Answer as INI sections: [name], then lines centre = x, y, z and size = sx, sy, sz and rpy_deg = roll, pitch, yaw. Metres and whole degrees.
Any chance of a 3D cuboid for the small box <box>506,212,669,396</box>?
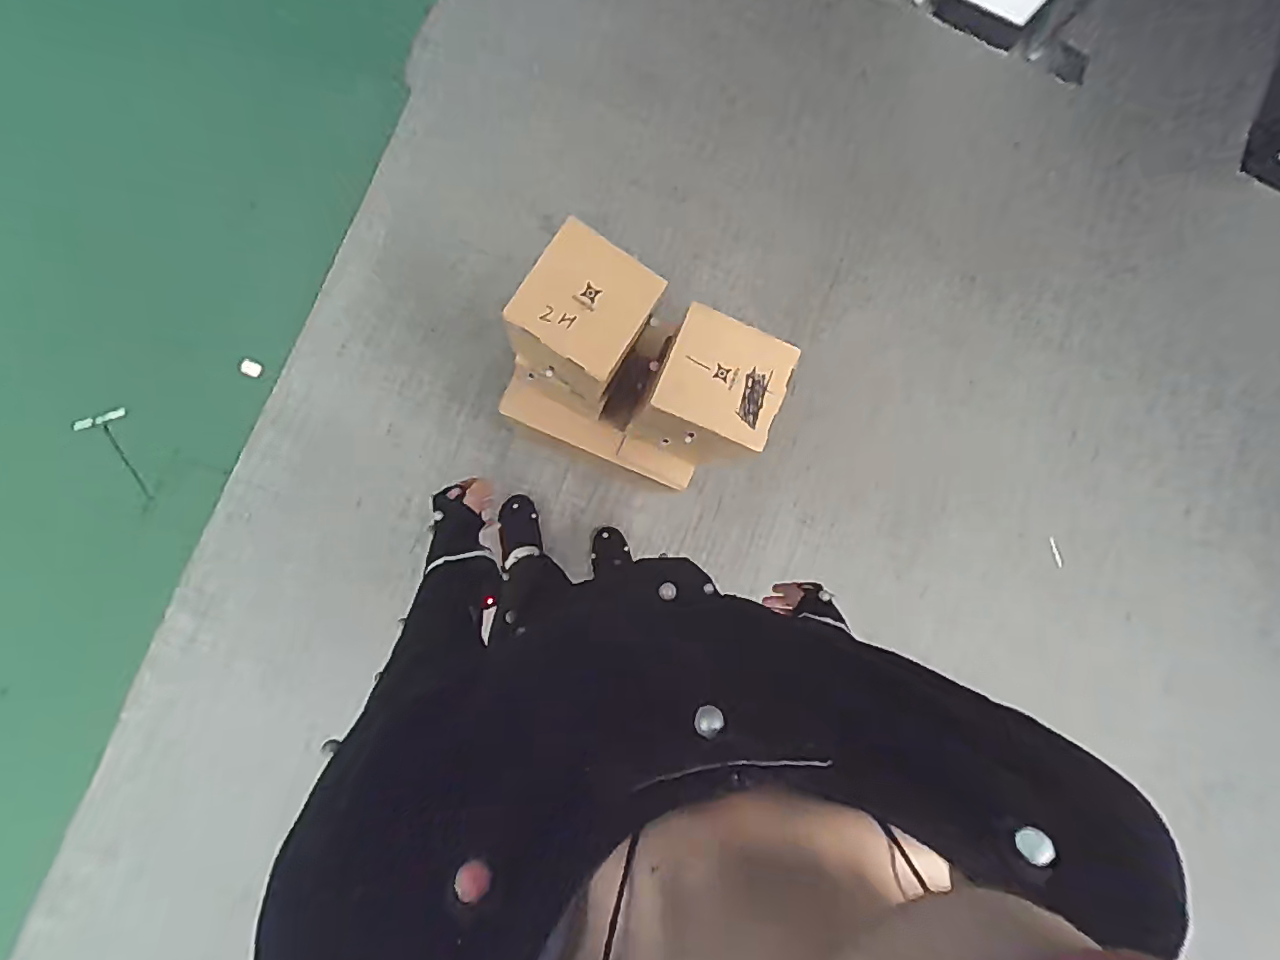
[small box]
centre = -0.082, -0.254, 0.824
size = 0.168, 0.176, 0.179
rpy_deg = 33, 84, -5
